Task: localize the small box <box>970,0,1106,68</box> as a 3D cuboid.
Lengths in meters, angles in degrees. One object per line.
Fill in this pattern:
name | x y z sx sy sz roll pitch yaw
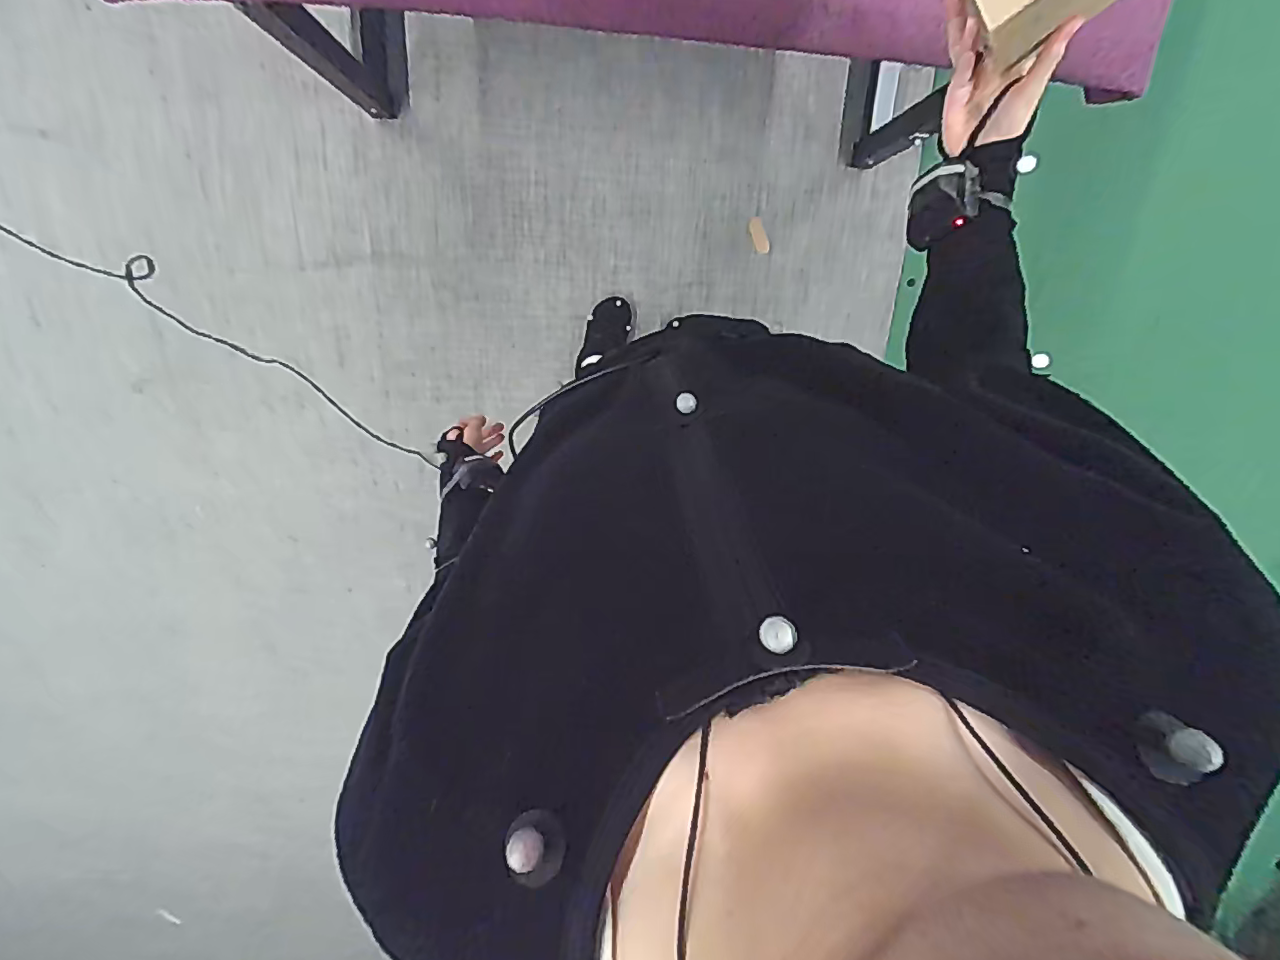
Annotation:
small box | 0.292 -0.421 0.344 0.179 0.168 0.176 -23 101 41
